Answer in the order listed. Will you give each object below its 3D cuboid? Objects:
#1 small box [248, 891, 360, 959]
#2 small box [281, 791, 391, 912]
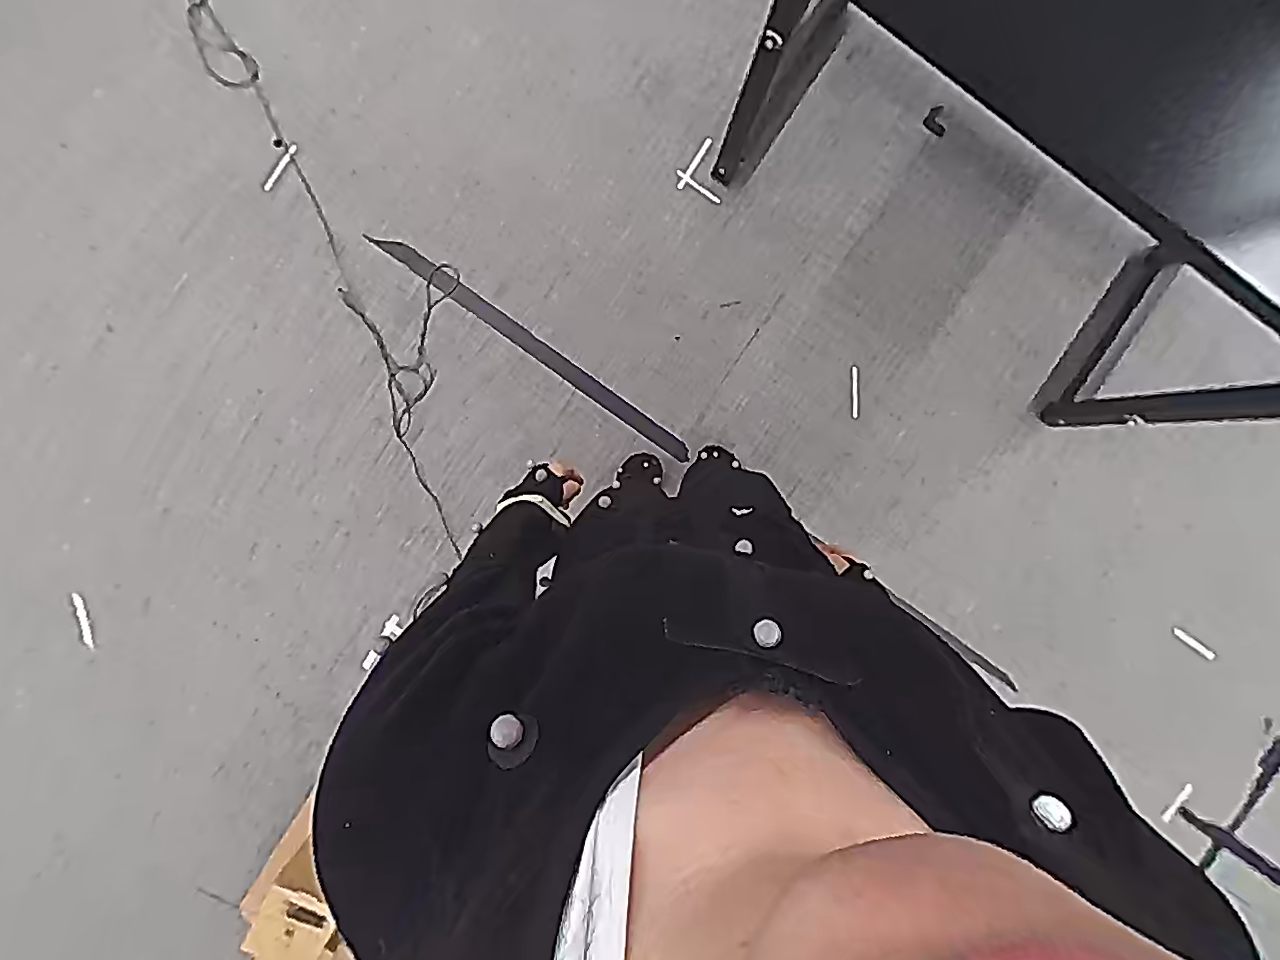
[{"bbox_3d":[-0.901,1.215,1.453,0.179,0.176,0.168,29,93,-5],"label":"small box"},{"bbox_3d":[-0.795,0.976,1.438,0.168,0.176,0.179,29,93,-5],"label":"small box"}]
